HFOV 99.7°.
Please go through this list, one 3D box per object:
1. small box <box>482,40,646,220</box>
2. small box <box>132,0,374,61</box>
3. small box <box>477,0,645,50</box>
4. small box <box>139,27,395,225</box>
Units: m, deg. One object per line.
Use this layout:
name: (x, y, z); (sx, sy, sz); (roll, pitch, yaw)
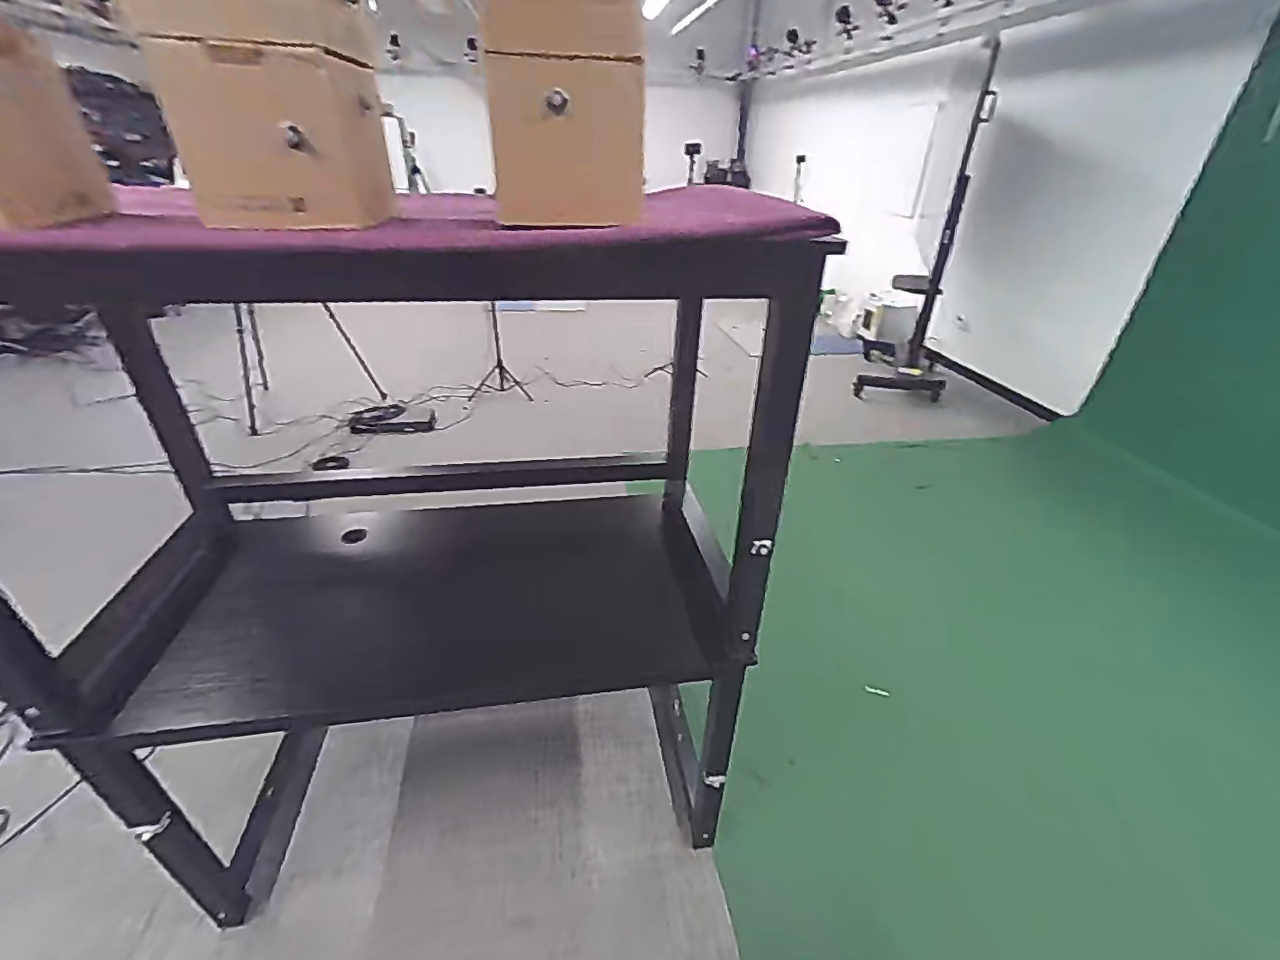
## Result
small box: (-0.091, -0.420, 0.674); (0.179, 0.176, 0.168); (-4, 29, -9)
small box: (-0.393, -0.535, 0.537); (0.179, 0.176, 0.168); (-1, 32, -7)
small box: (-0.090, -0.564, 0.599); (0.179, 0.176, 0.168); (-3, 29, -9)
small box: (-0.398, -0.394, 0.622); (0.168, 0.176, 0.179); (-2, 31, -8)
